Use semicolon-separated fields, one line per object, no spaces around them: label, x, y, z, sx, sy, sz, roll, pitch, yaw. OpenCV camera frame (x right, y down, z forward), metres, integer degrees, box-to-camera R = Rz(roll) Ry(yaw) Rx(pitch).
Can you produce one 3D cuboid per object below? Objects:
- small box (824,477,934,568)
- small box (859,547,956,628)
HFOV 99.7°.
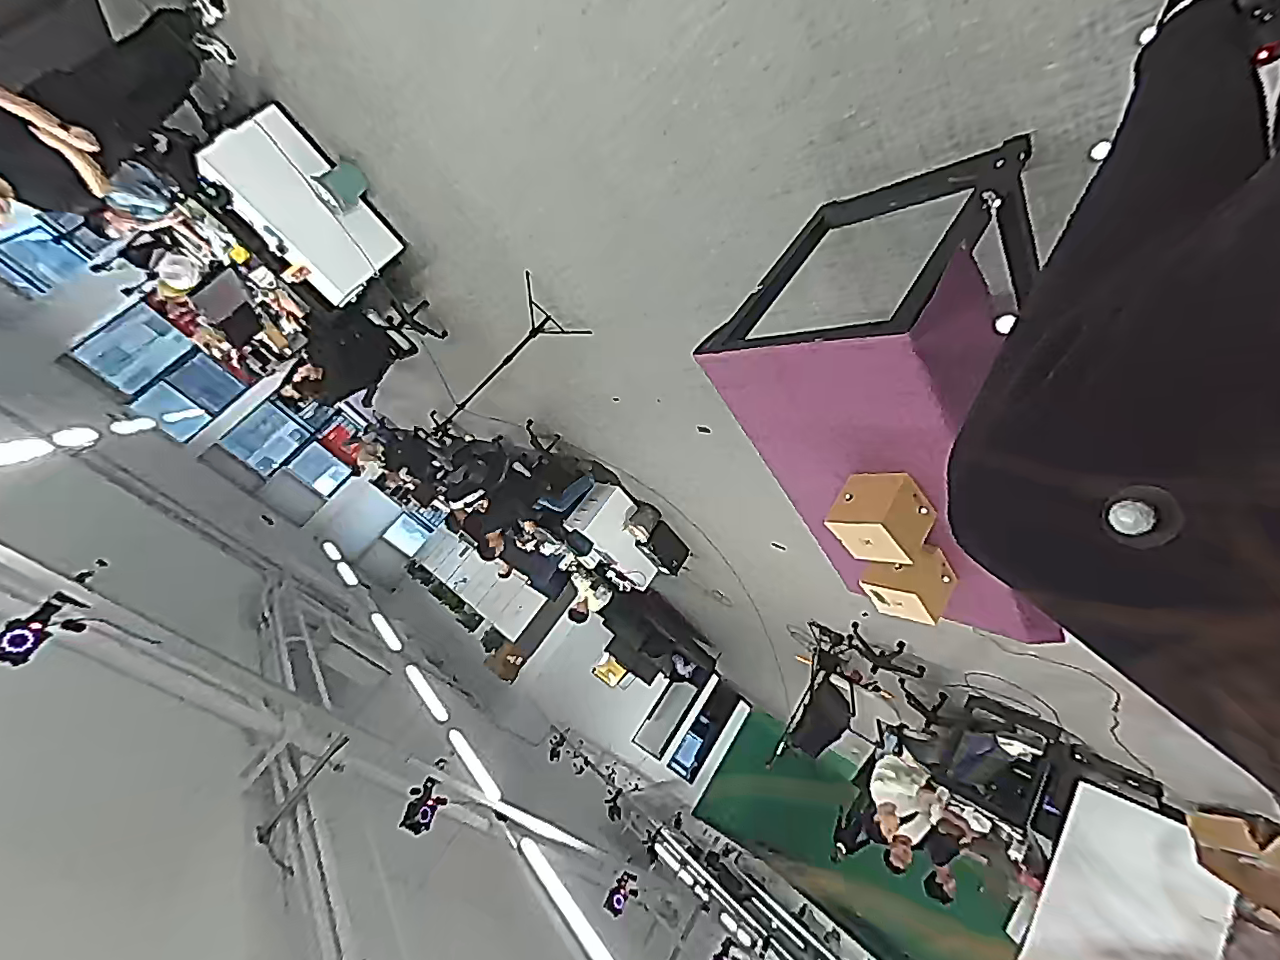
small box;0.628;0.104;1.419;0.168;0.176;0.179;44;160;-21
small box;0.788;0.301;1.591;0.168;0.176;0.179;47;158;-27
